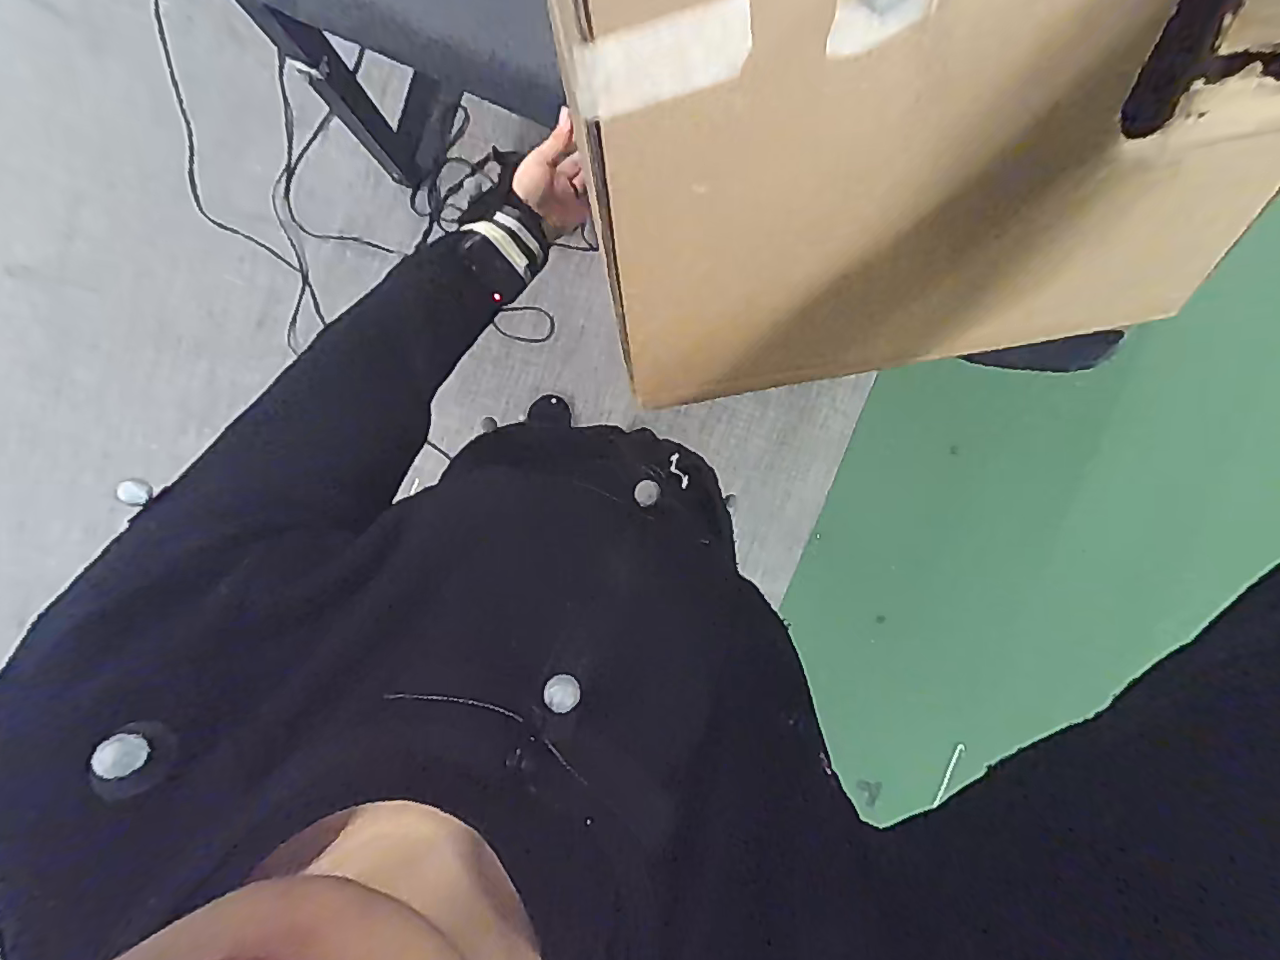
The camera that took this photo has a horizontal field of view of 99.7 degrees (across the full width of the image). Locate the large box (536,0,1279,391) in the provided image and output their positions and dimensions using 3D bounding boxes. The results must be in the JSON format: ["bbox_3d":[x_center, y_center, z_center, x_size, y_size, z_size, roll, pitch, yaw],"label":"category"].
[{"bbox_3d":[0.099,-0.319,0.304,0.320,0.320,0.408,-12,53,-2],"label":"large box"}]
